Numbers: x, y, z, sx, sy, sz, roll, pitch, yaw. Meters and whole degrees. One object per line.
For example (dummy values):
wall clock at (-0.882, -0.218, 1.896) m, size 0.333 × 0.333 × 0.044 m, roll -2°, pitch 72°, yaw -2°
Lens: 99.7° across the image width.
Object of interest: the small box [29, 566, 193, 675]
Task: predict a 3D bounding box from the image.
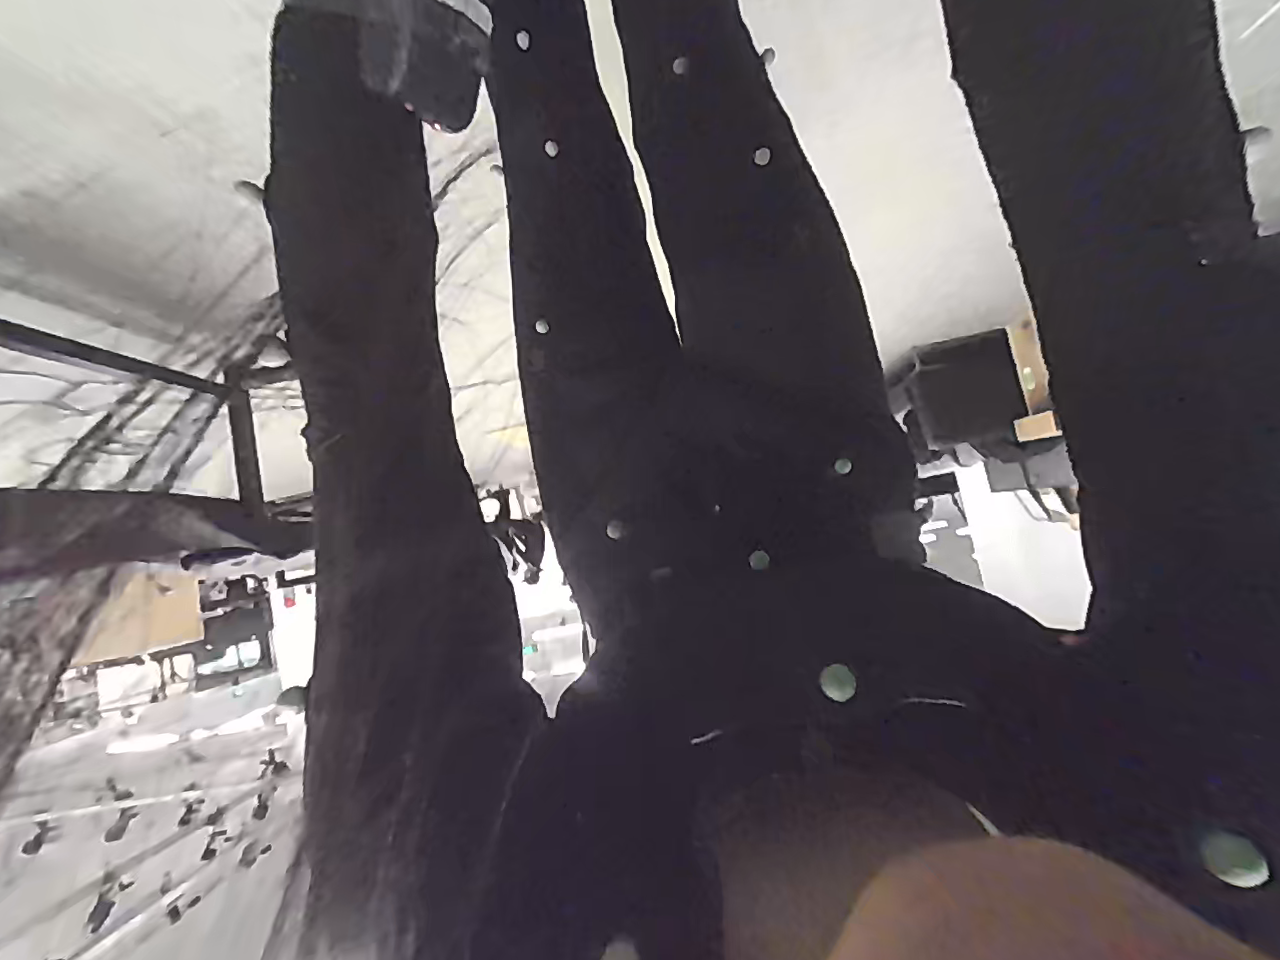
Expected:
small box at (-1.049, 0.271, 1.079) m, size 0.179 × 0.176 × 0.168 m, roll -11°, pitch 175°, yaw 3°
